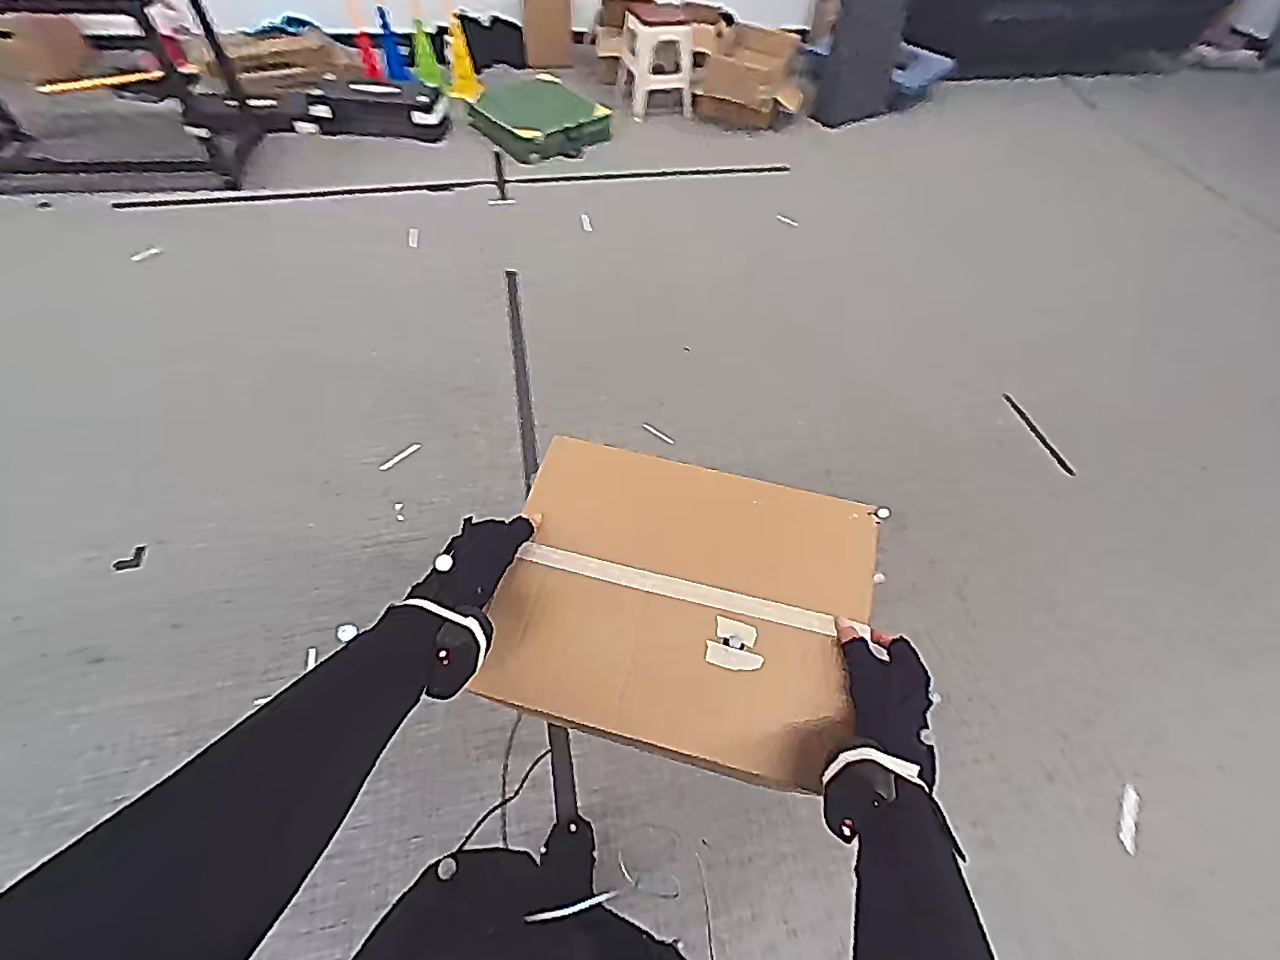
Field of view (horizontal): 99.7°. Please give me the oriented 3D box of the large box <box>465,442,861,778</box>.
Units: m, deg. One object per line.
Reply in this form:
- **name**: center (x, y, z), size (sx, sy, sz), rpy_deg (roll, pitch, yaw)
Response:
- **large box**: center (0.040, 0.188, 0.742), size (0.408, 0.320, 0.320), rpy_deg (13, 64, 6)
